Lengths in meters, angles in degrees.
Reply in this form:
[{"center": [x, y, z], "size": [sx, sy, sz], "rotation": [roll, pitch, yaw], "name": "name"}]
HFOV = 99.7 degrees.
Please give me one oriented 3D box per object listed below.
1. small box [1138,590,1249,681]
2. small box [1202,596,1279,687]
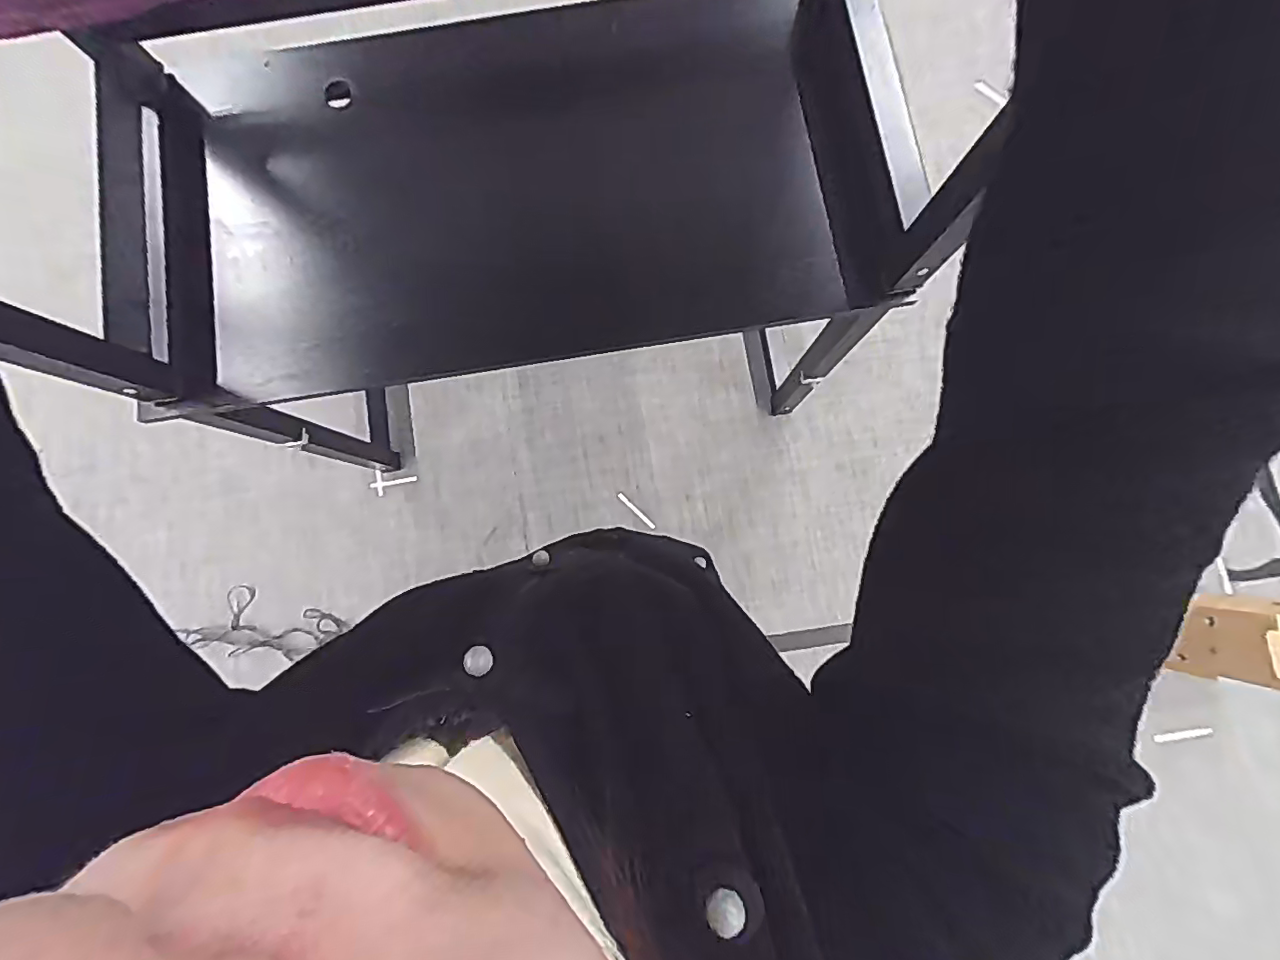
[{"center": [1.423, 0.384, 1.361], "size": [0.168, 0.176, 0.179], "rotation": [-11, 83, 0], "name": "small box"}, {"center": [1.415, 0.357, 1.200], "size": [0.179, 0.176, 0.168], "rotation": [-8, 84, -1], "name": "small box"}]
